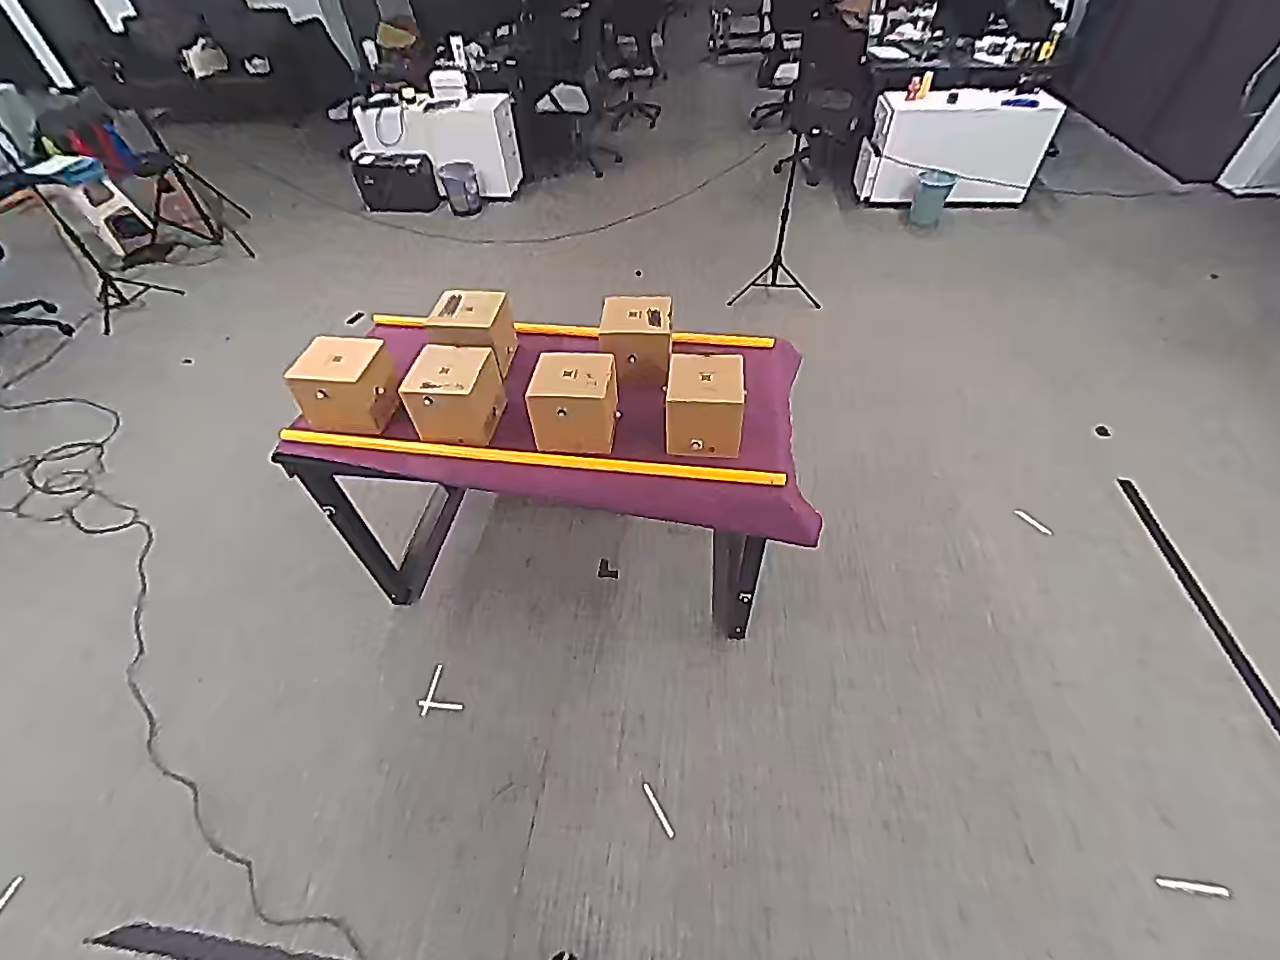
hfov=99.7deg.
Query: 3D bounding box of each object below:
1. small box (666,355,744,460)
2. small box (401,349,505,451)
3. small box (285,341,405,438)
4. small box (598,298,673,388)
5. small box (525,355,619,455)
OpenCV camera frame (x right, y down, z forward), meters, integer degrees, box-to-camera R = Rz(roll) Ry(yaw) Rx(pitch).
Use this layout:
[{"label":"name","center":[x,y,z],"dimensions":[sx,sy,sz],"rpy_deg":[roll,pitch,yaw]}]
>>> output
[{"label":"small box","center":[0.148,-0.167,1.236],"dimensions":[0.168,0.176,0.179],"rpy_deg":[2,46,7]},{"label":"small box","center":[-0.434,-0.192,1.291],"dimensions":[0.168,0.176,0.179],"rpy_deg":[3,48,7]},{"label":"small box","center":[-0.710,-0.220,1.328],"dimensions":[0.179,0.176,0.168],"rpy_deg":[3,48,5]},{"label":"small box","center":[-0.005,-0.355,1.415],"dimensions":[0.179,0.176,0.168],"rpy_deg":[1,49,5]},{"label":"small box","center":[-0.150,-0.172,1.257],"dimensions":[0.179,0.176,0.168],"rpy_deg":[3,47,5]}]
